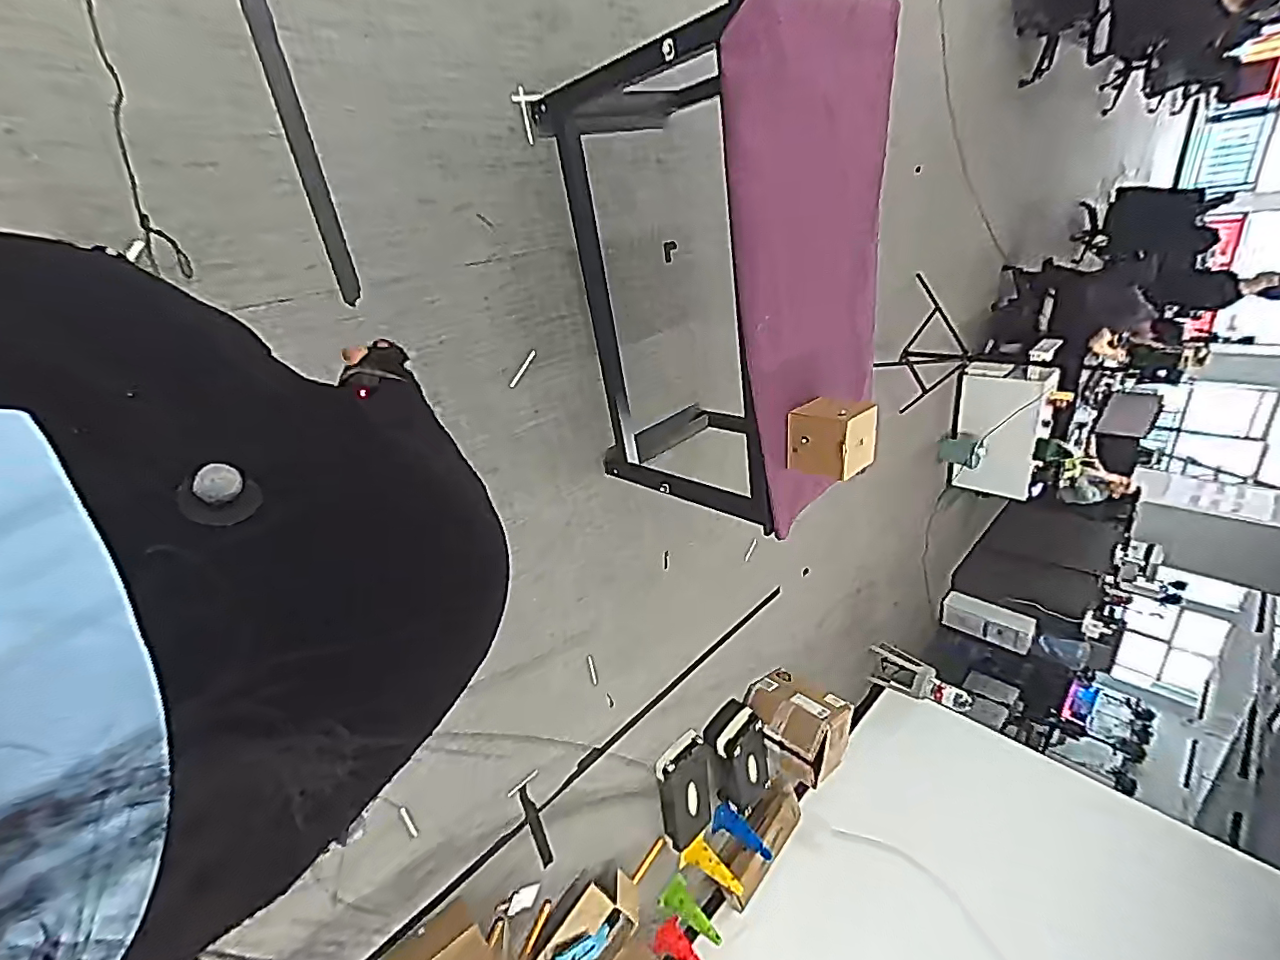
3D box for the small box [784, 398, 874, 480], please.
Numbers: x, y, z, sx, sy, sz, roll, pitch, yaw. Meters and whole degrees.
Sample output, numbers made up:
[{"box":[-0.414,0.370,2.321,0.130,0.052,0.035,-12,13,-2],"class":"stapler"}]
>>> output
[{"box":[0.511,-0.119,1.468,0.179,0.176,0.168,-25,120,-38],"class":"small box"}]
